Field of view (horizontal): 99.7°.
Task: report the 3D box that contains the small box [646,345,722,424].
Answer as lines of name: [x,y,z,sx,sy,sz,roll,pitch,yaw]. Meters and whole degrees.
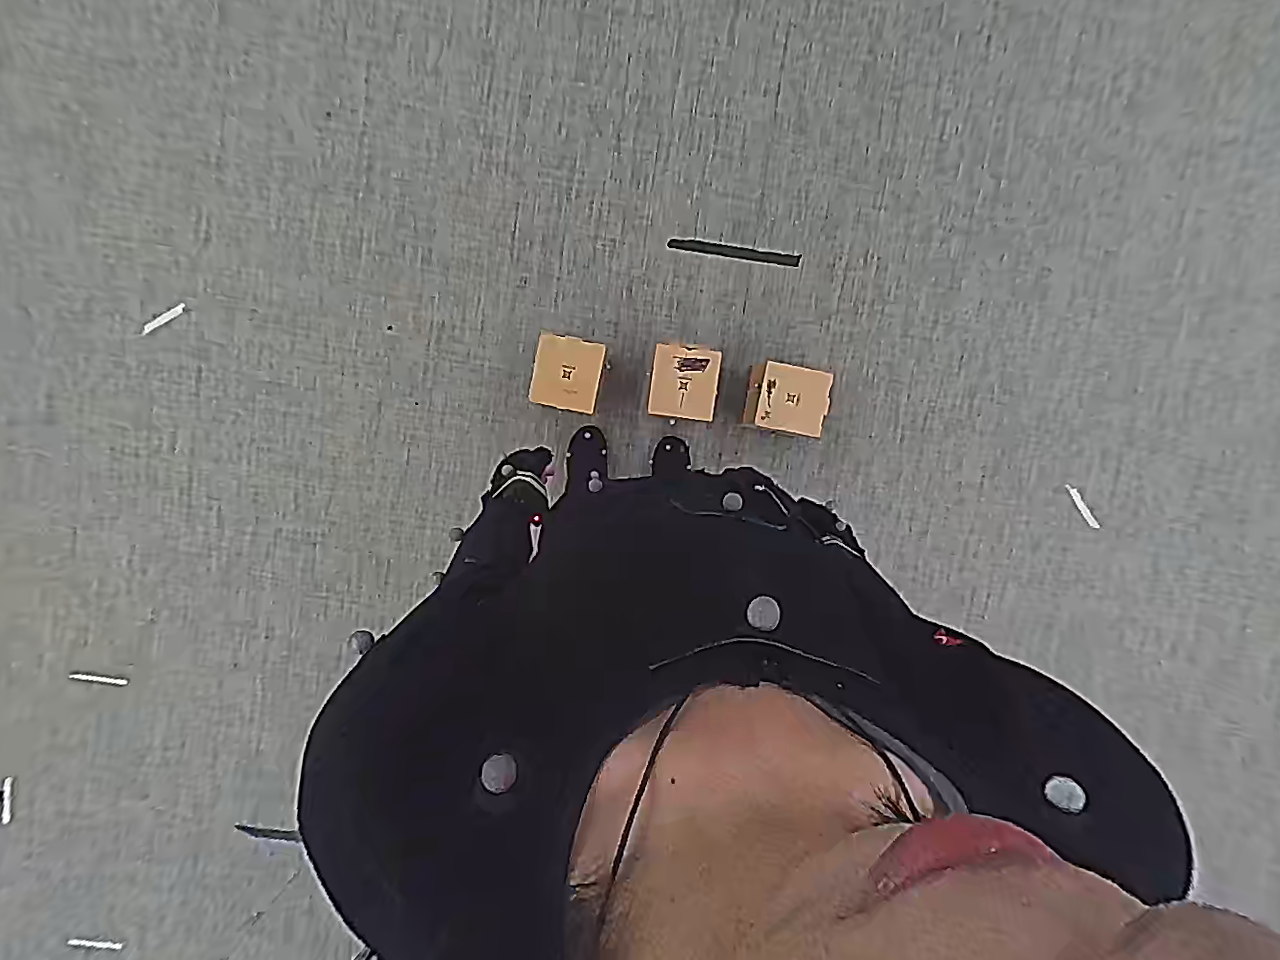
small box: [0.108,-0.244,1.414,0.168,0.176,0.179,8,96,-2]

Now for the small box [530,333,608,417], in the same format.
small box: [-0.179,-0.266,1.405,0.168,0.176,0.179,11,96,-2]

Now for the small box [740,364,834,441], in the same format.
small box: [0.381,-0.203,1.430,0.179,0.176,0.168,11,95,-4]
